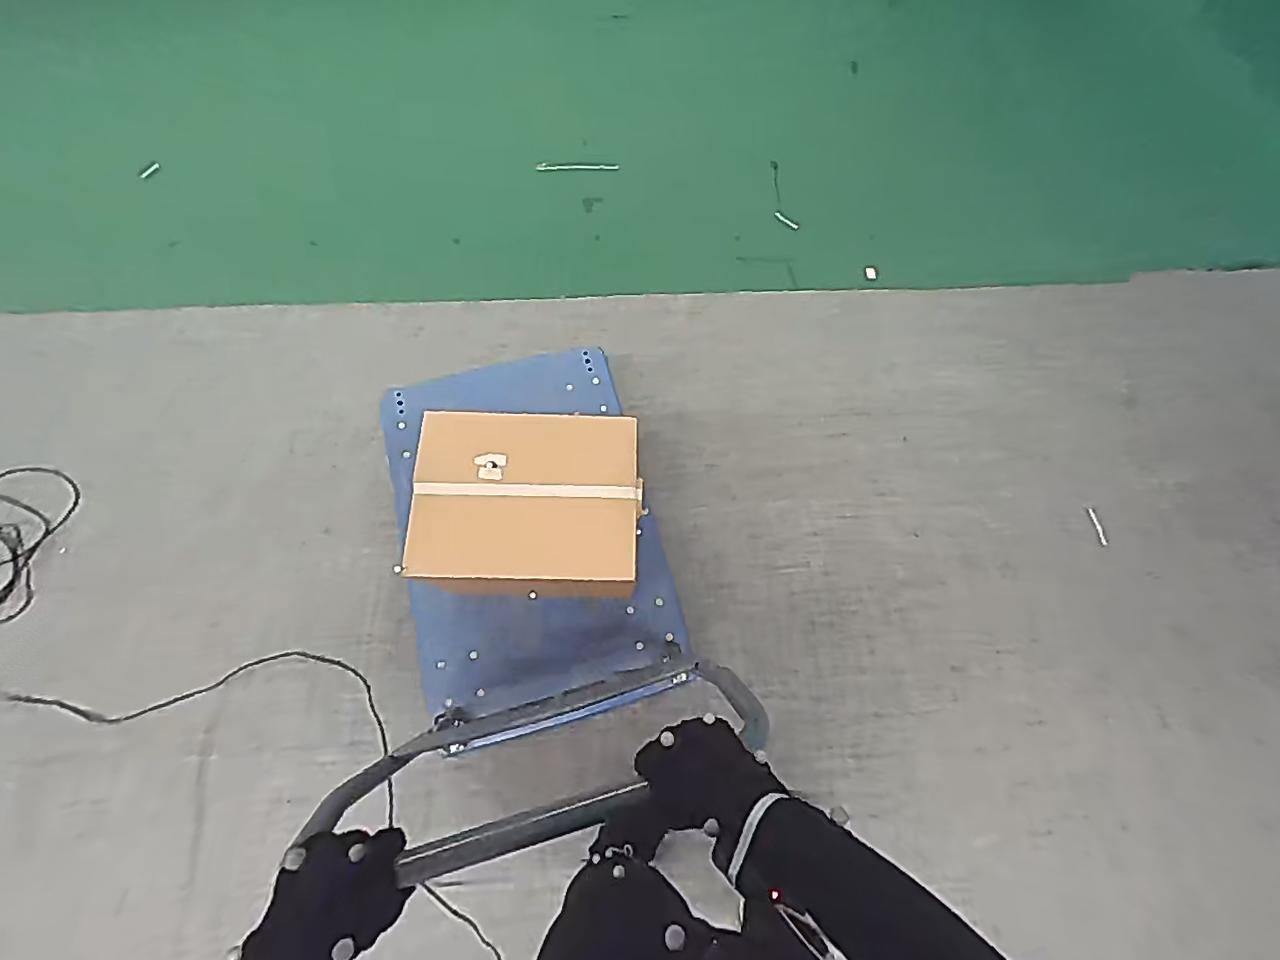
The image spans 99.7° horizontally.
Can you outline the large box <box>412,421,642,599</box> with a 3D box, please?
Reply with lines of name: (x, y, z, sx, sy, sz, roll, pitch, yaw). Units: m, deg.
large box: (-0.201, 0.080, 1.123, 0.408, 0.320, 0.320, 0, 72, -1)
